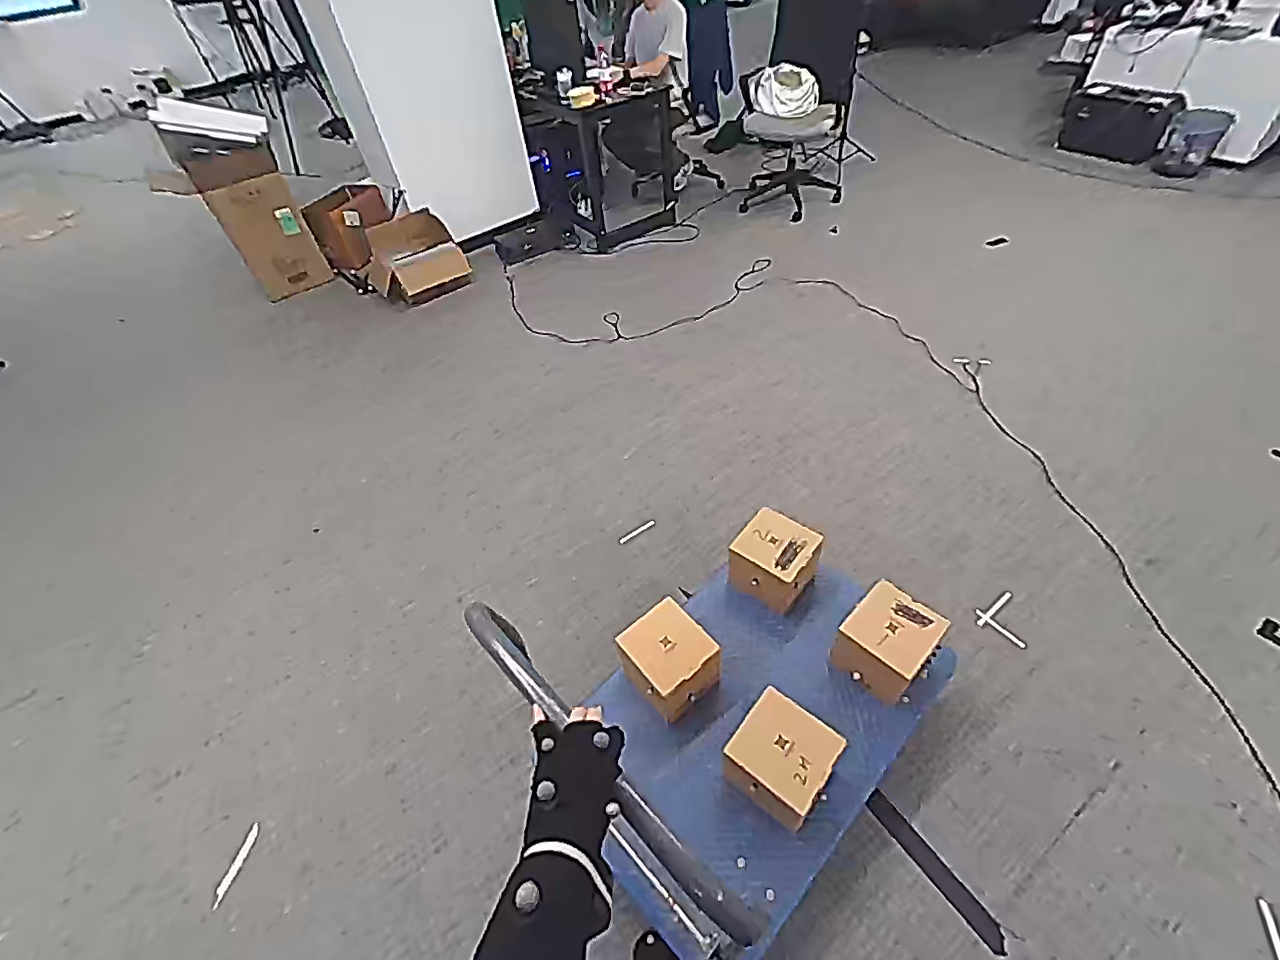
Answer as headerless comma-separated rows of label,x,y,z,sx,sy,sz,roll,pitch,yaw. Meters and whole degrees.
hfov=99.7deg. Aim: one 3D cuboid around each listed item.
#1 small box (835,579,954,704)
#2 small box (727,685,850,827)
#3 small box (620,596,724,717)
small box,0.564,0.366,1.221,0.179,0.176,0.168,-38,54,-23
small box,0.289,0.558,1.087,0.179,0.176,0.168,31,59,30
small box,0.075,0.411,1.251,0.168,0.176,0.179,-34,54,-22
